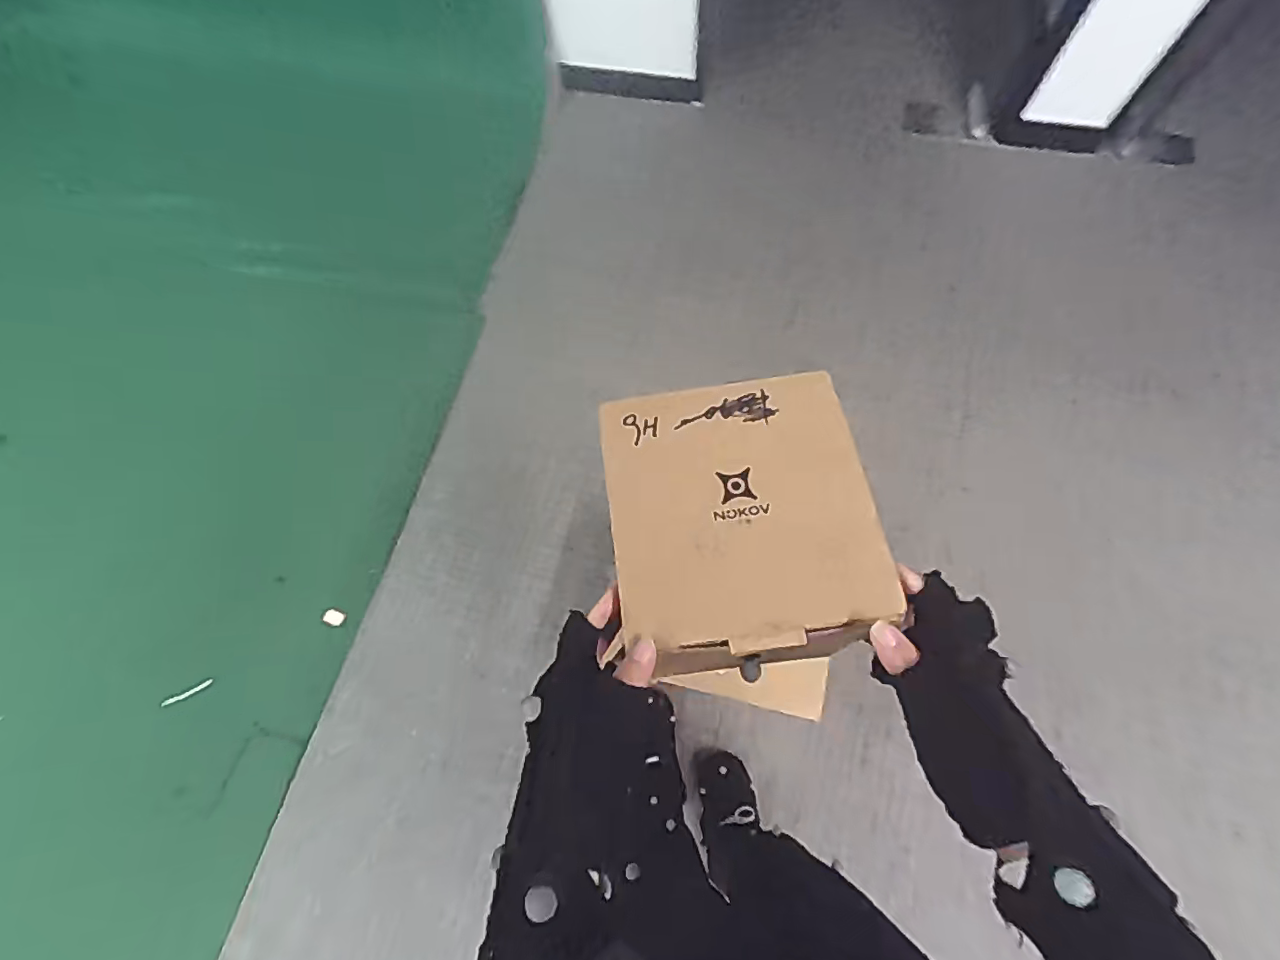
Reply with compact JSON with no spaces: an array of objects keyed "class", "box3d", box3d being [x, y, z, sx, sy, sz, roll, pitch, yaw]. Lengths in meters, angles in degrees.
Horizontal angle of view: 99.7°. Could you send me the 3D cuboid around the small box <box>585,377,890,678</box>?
[{"class":"small box","box3d":[0.059,0.050,0.413,0.168,0.176,0.179,-9,68,1]}]
